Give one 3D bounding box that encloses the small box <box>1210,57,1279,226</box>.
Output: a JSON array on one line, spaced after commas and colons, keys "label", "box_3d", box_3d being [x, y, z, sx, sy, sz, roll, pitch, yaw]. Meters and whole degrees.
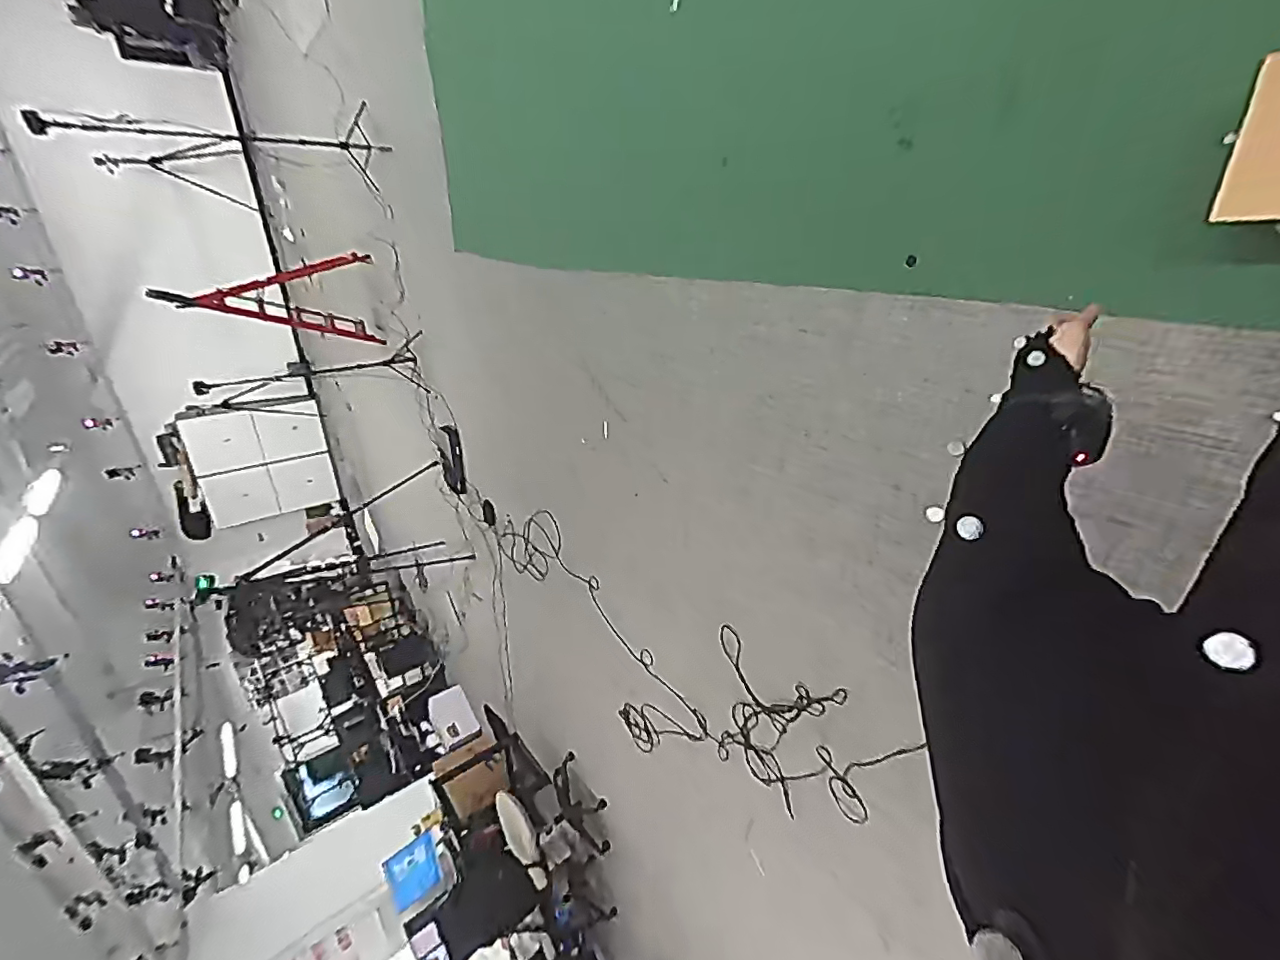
[{"label": "small box", "box_3d": [0.836, -0.402, 0.639, 0.168, 0.176, 0.179, 25, 125, 47]}]
